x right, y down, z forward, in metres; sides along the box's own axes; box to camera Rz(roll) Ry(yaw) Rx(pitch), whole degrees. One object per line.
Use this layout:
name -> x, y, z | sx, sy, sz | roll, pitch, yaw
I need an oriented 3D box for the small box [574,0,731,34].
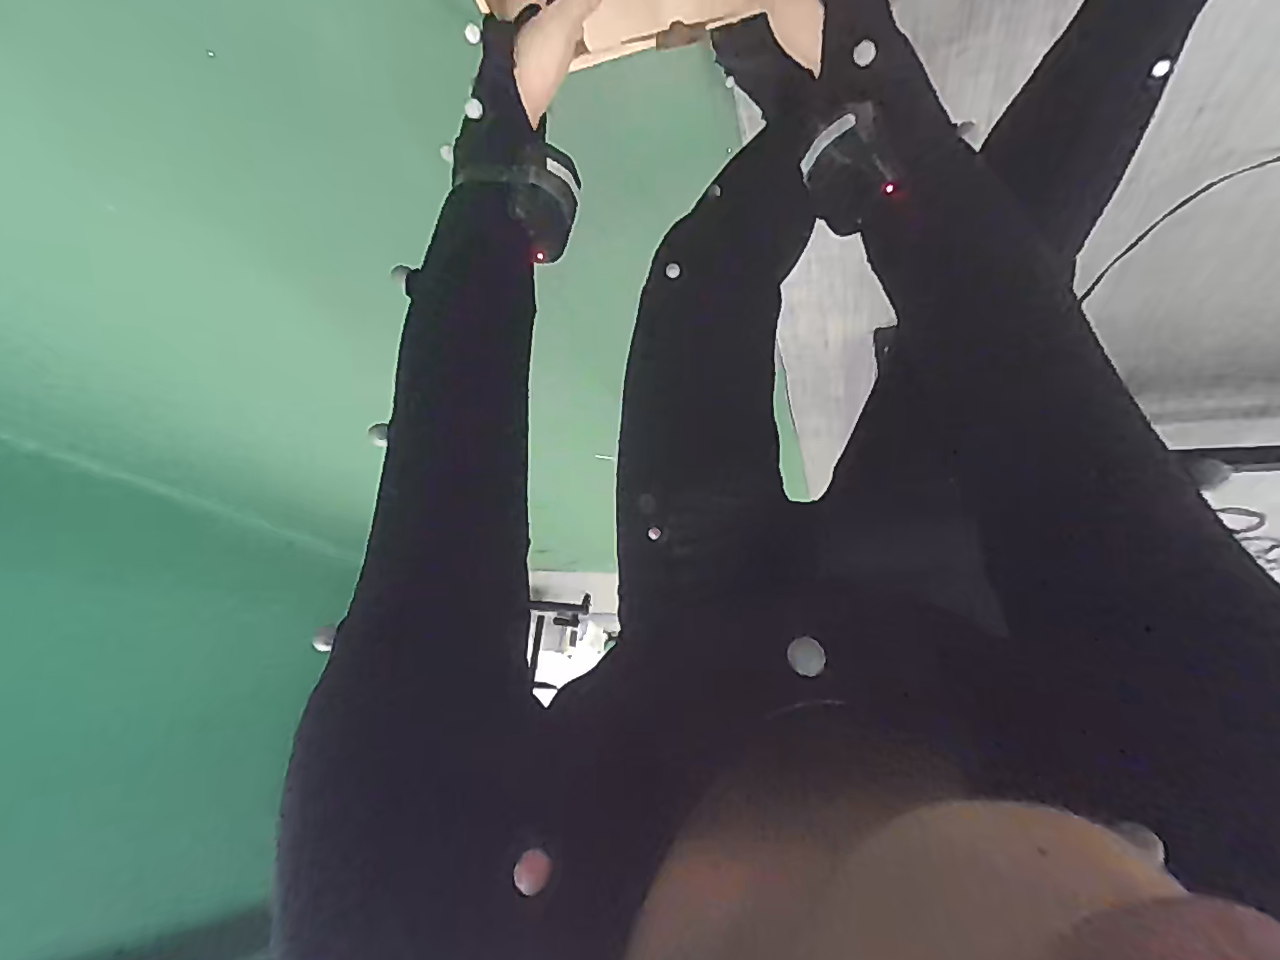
small box -> 0.013, -0.500, 0.408 | 0.168, 0.176, 0.179 | -4, 158, 13
